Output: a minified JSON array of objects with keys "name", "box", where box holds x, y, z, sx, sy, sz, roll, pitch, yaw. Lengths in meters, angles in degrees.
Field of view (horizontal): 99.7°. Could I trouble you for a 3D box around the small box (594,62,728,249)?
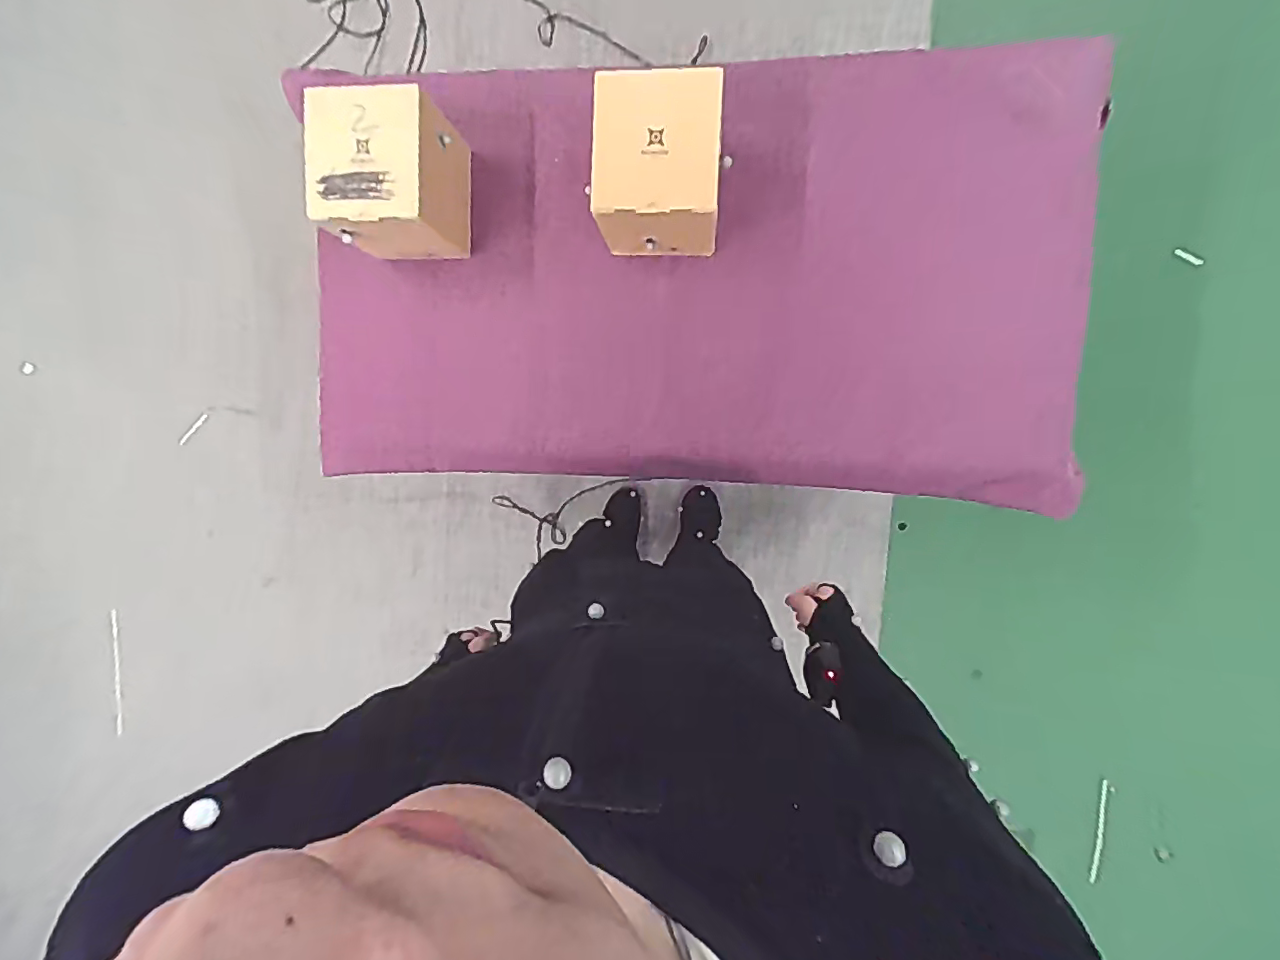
[{"name":"small box","box":[0.031,-0.446,0.766,0.168,0.176,0.179,2,96,5]}]
